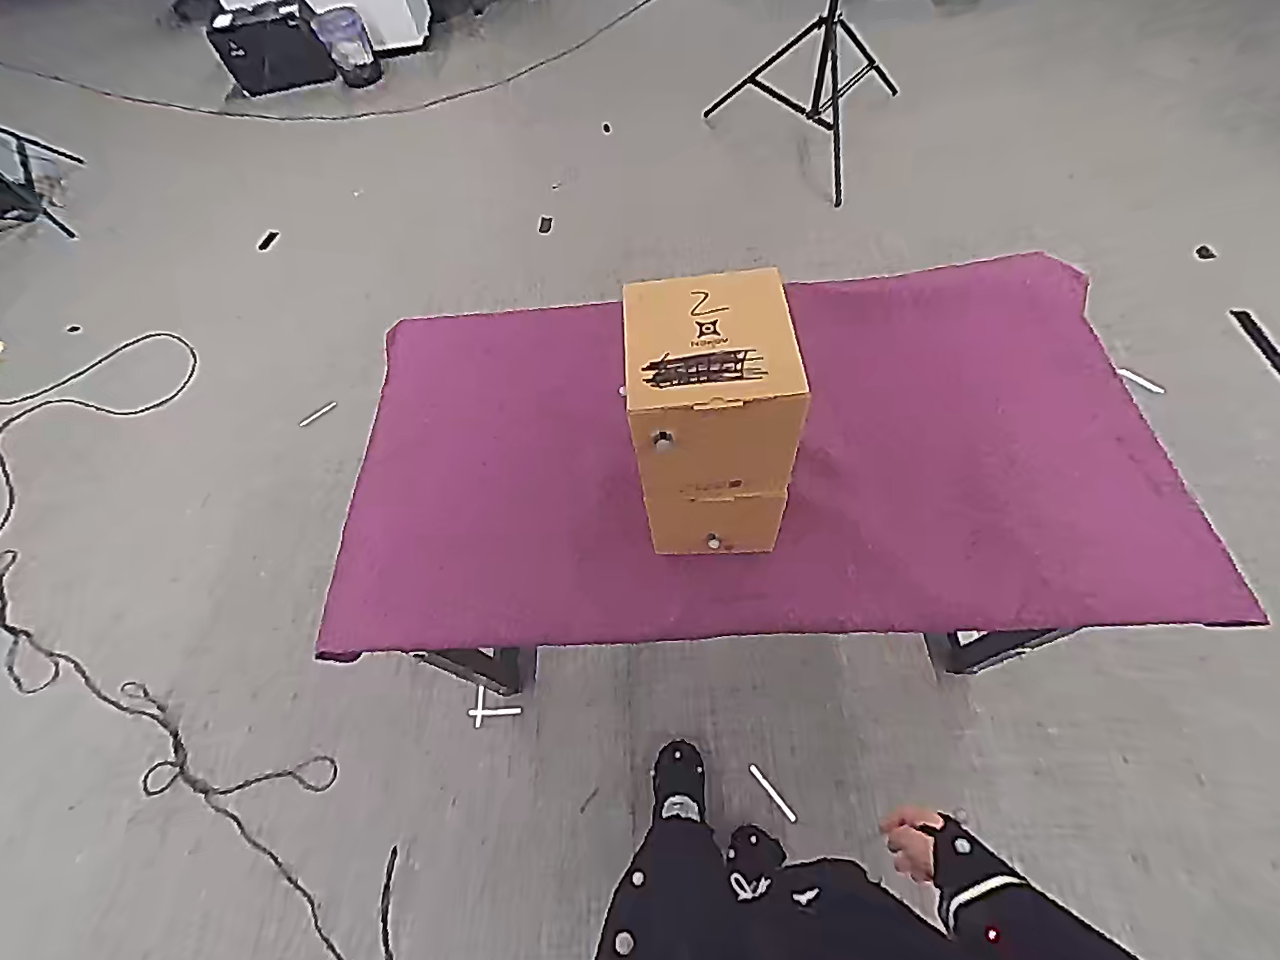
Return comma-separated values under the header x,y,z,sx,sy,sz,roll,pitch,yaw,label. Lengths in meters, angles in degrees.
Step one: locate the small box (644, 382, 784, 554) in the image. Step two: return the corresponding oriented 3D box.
x,y,z,sx,sy,sz,roll,pitch,yaw,label
0.095,-0.012,0.738,0.168,0.176,0.179,-2,60,6,small box
